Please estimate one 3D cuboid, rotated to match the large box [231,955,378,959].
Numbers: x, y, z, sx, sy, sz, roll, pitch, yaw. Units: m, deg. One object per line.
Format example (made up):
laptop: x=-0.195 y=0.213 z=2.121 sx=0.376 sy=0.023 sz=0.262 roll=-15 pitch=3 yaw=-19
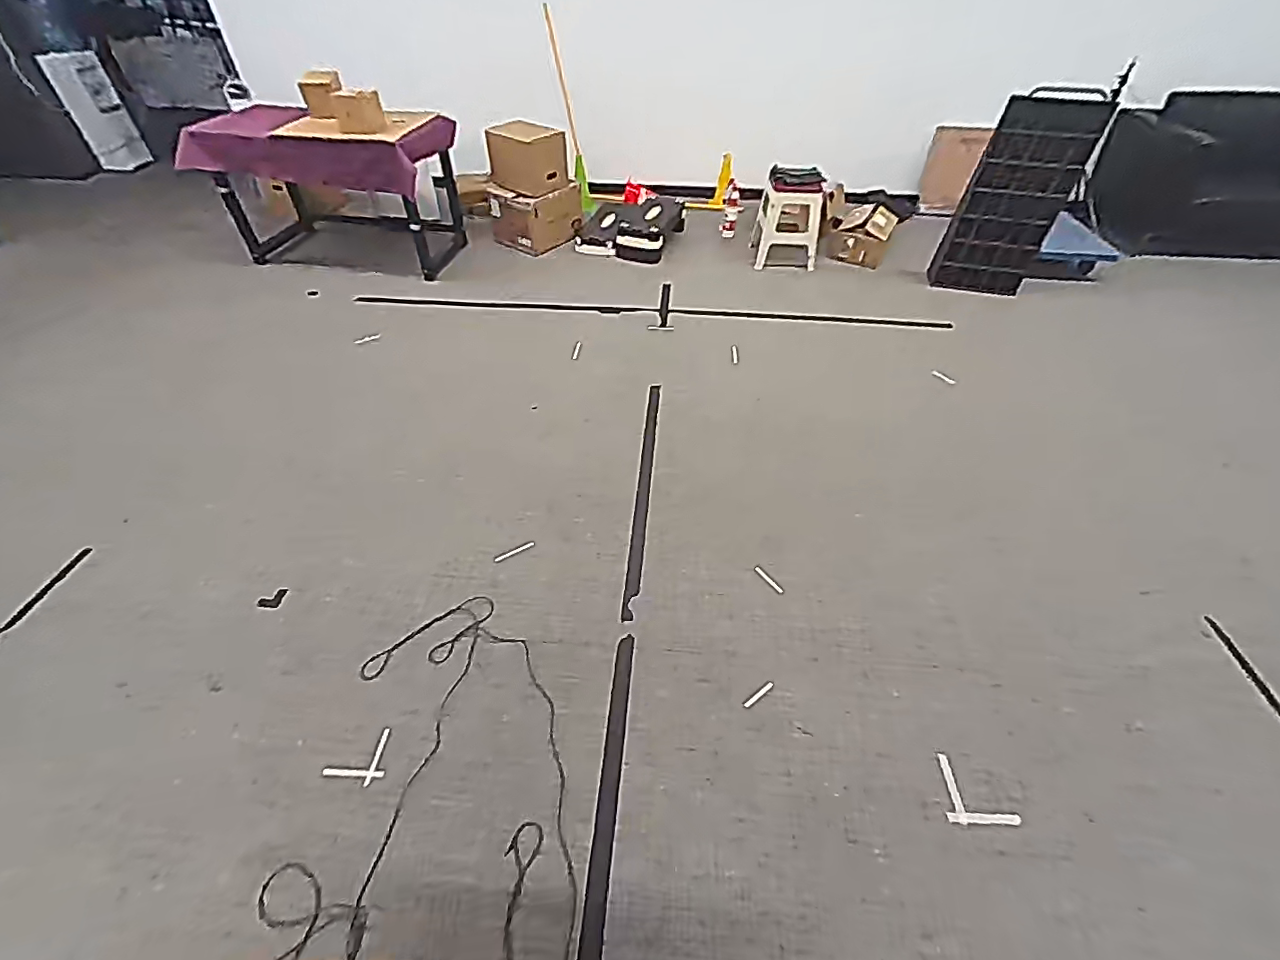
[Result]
large box: x=-0.453 y=0.815 z=0.575 sx=0.320 sy=0.408 sz=0.320 roll=0 pitch=78 yaw=0
